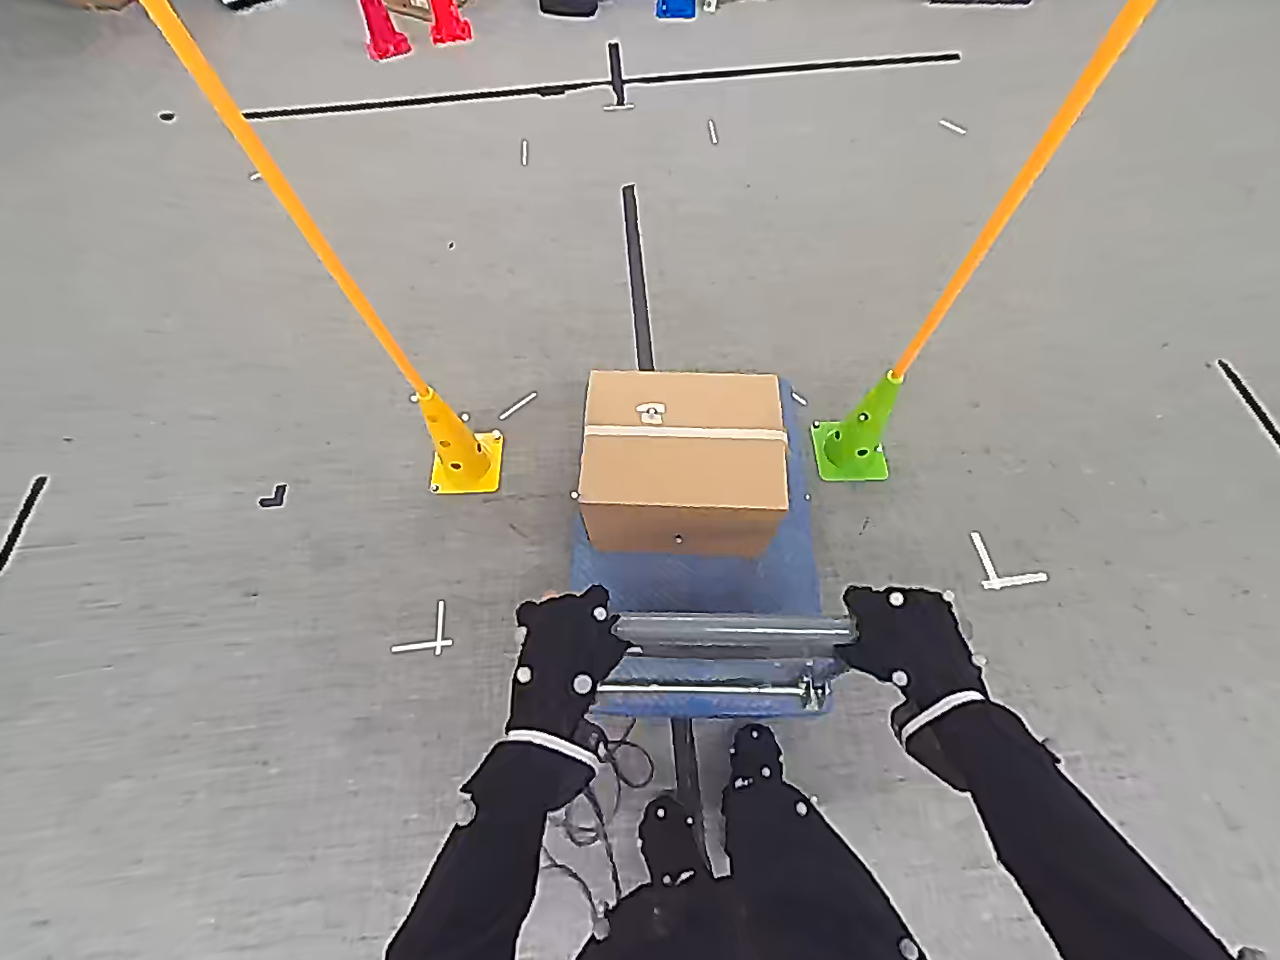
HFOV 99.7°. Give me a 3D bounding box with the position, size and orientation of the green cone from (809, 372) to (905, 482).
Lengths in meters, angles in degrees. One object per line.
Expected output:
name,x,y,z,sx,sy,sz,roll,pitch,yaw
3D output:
green cone,0.615,-0.161,1.460,0.202,0.368,0.200,-1,63,0

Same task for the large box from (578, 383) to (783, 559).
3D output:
large box,0.088,-0.009,1.241,0.408,0.320,0.320,1,64,3
